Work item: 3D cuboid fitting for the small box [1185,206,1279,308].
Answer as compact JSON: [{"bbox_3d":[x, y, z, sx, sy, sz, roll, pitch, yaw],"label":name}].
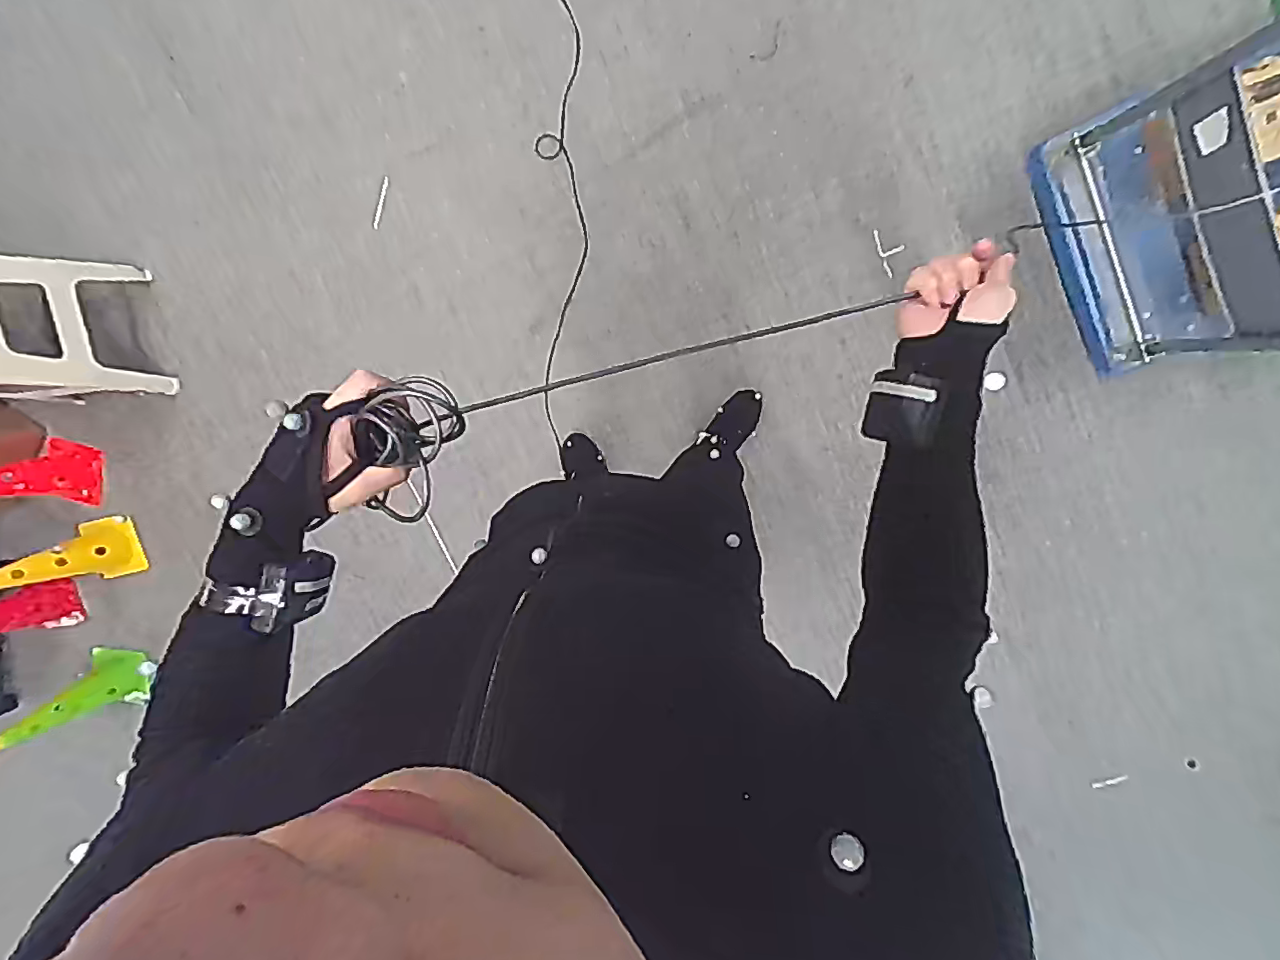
[{"bbox_3d":[1.335,-0.481,1.147,0.179,0.176,0.168,-22,98,10],"label":"small box"}]
